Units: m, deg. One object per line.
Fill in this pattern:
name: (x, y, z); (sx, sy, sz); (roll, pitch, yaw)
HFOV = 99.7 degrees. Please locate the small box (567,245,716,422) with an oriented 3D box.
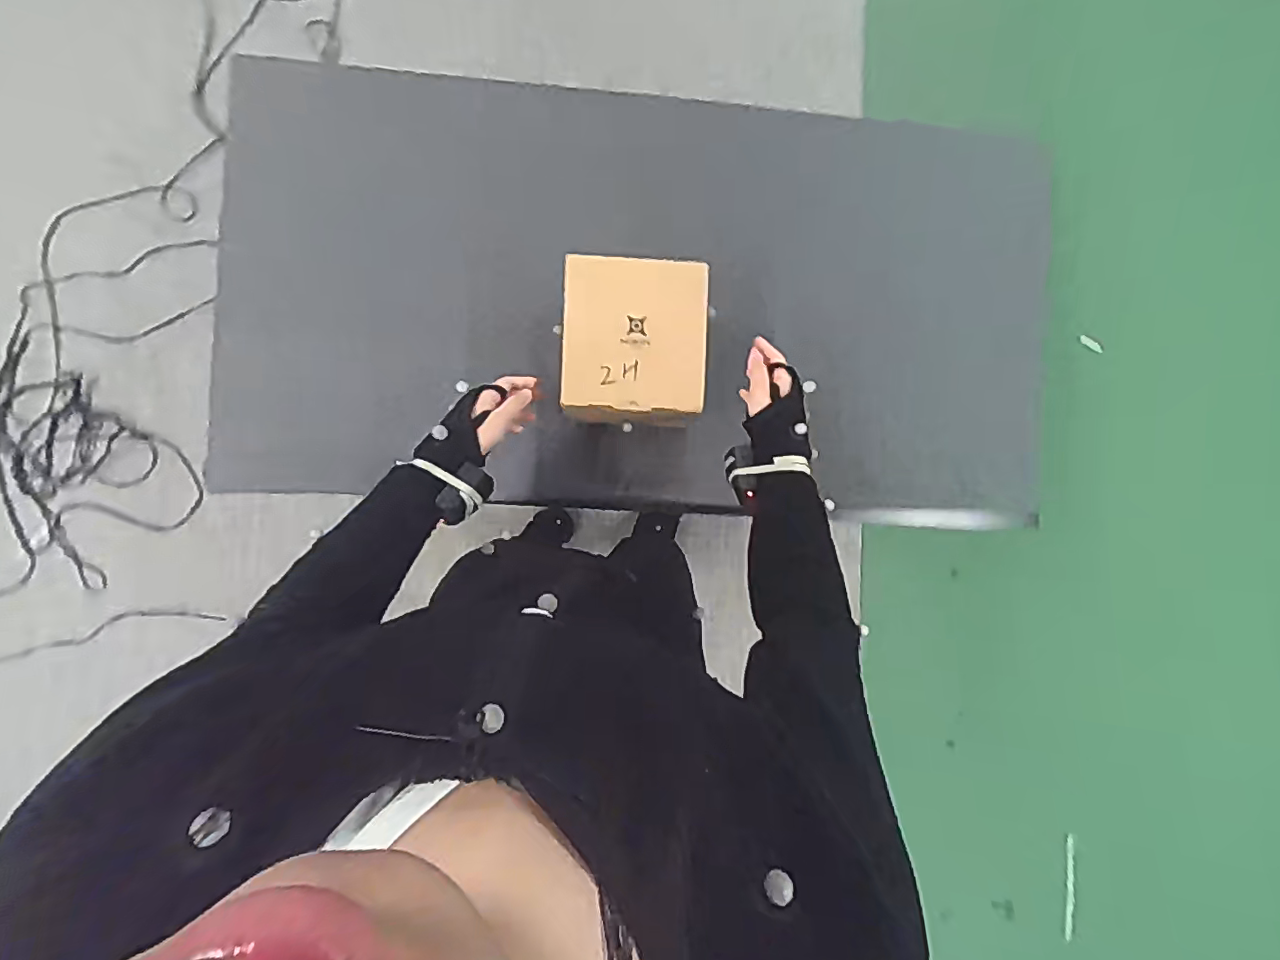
small box: (-0.003, -0.174, 0.692); (0.168, 0.176, 0.179); (2, 89, -3)
